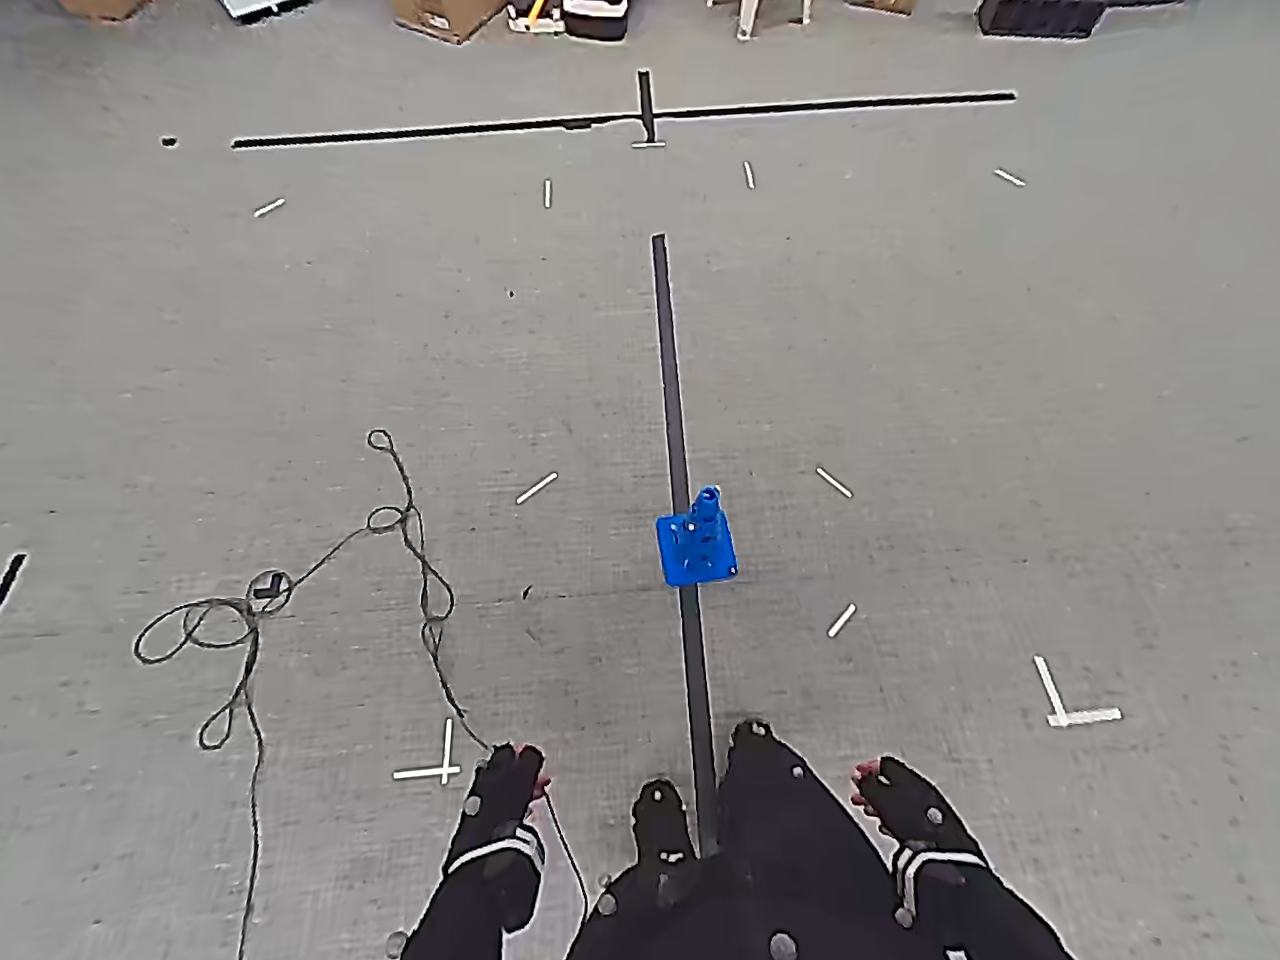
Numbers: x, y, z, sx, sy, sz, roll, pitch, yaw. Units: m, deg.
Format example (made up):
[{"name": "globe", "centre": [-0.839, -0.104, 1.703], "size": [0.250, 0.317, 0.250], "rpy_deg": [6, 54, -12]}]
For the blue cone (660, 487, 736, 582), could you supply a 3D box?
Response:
[{"name": "blue cone", "centre": [0.156, 0.112, 1.335], "size": [0.192, 0.380, 0.193], "rpy_deg": [-6, 64, -3]}]
